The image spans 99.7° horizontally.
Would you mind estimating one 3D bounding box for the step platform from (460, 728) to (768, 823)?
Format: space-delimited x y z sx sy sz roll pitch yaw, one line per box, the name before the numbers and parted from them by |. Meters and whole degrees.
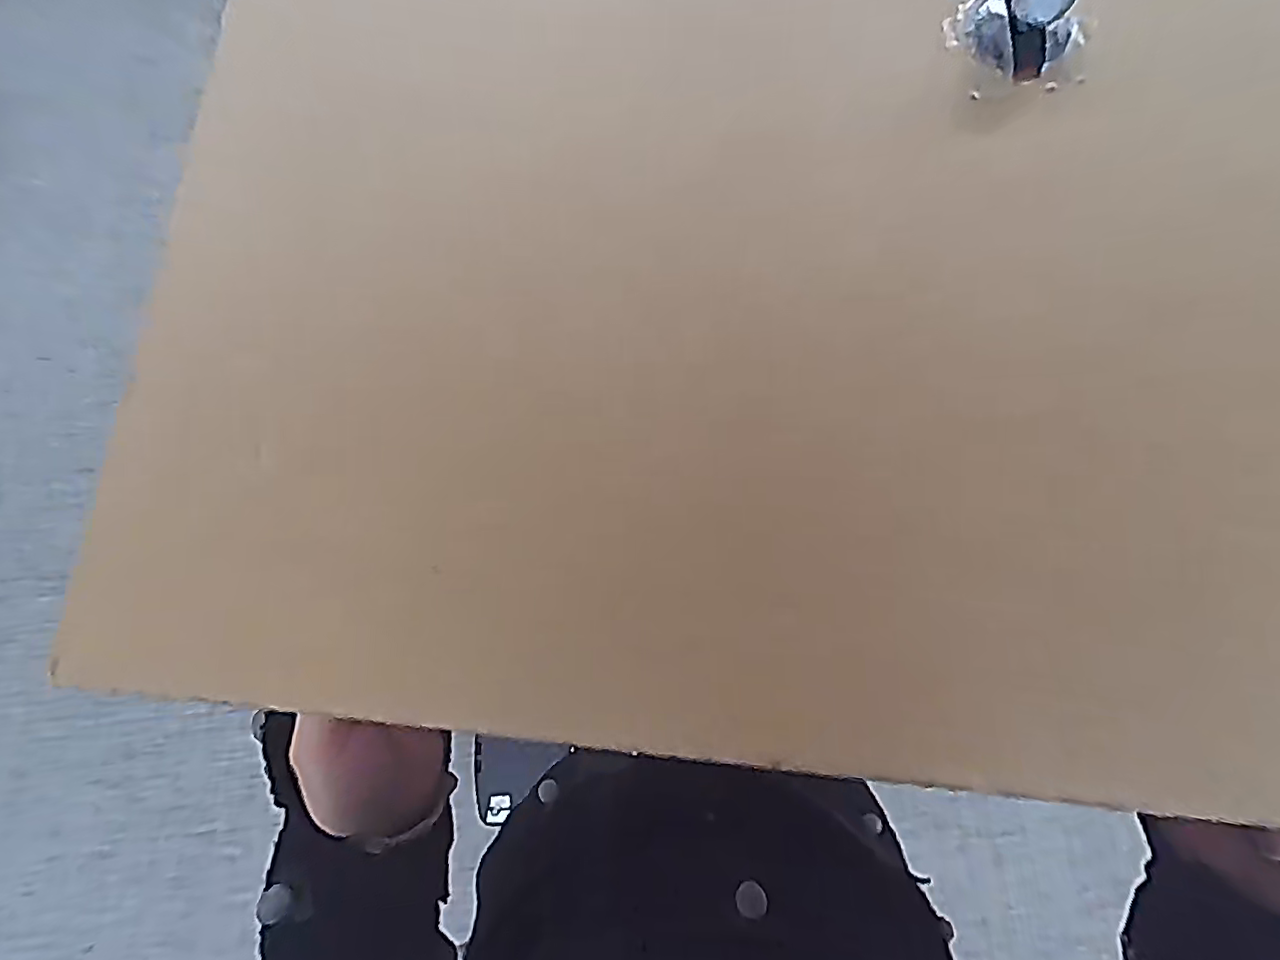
step platform | -0.055 0.602 1.245 0.684 0.204 0.286 1 76 1
